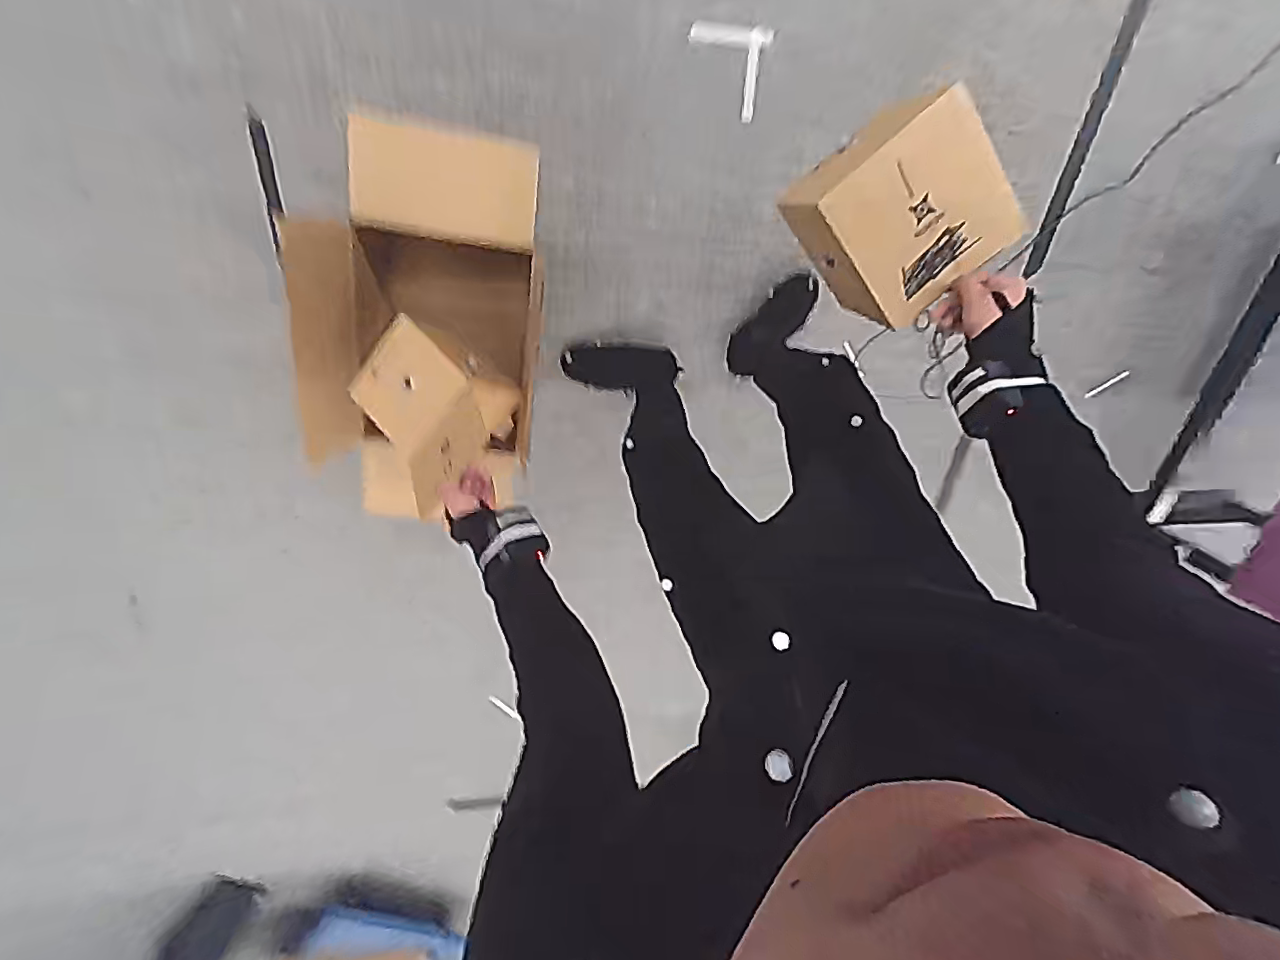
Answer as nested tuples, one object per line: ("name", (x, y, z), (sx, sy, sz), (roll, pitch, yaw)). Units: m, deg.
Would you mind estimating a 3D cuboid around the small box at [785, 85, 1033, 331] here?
("small box", (0.300, -0.310, 0.635), (0.168, 0.176, 0.179), (-38, 112, 15))
